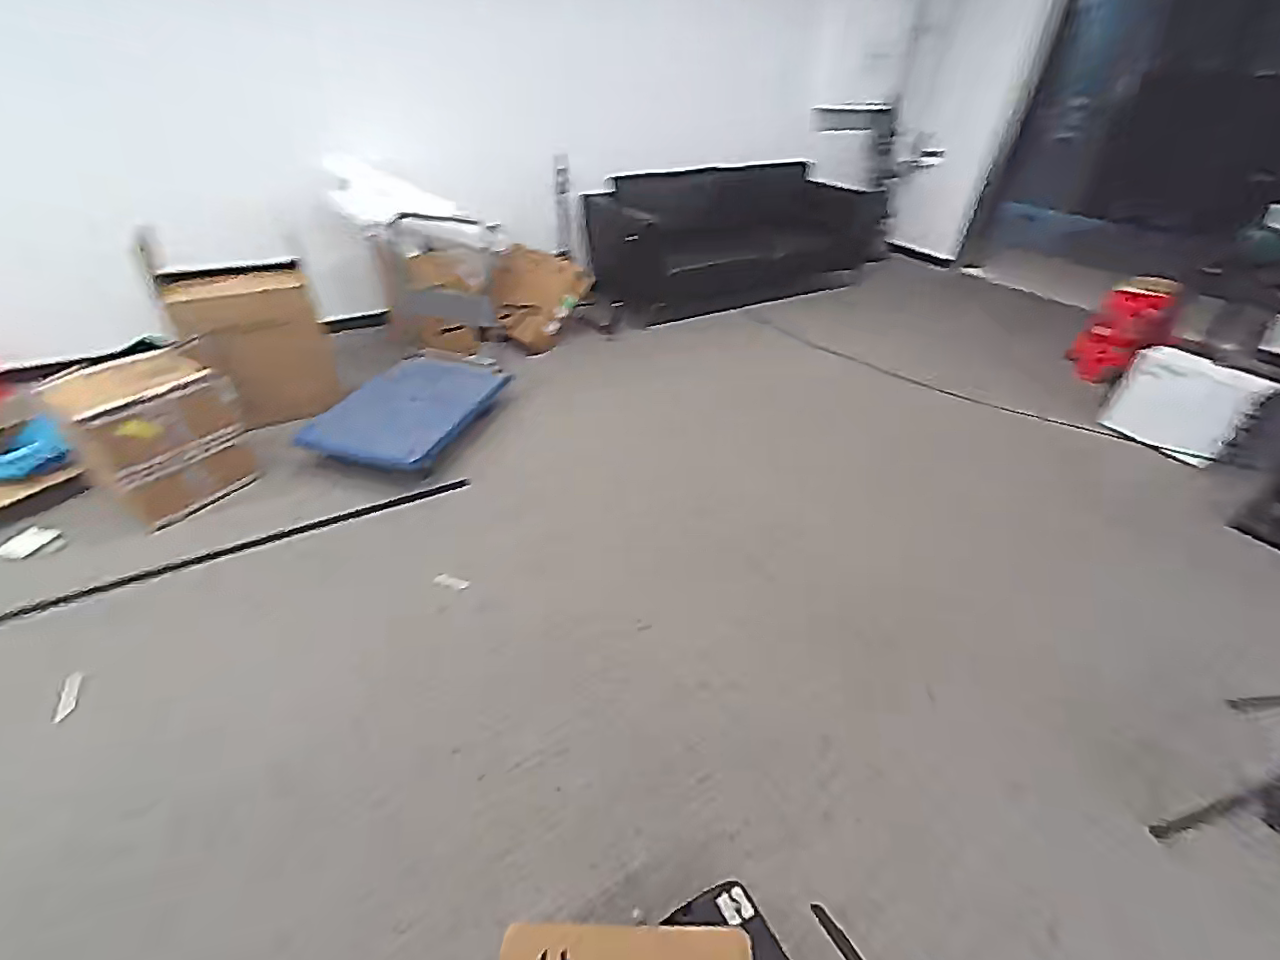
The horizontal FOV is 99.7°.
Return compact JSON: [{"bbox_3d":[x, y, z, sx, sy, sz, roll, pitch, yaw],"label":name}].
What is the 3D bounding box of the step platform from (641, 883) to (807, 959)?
[{"bbox_3d":[0.261,1.042,0.827,0.286,0.204,0.684,-18,41,-26],"label":"step platform"}]
